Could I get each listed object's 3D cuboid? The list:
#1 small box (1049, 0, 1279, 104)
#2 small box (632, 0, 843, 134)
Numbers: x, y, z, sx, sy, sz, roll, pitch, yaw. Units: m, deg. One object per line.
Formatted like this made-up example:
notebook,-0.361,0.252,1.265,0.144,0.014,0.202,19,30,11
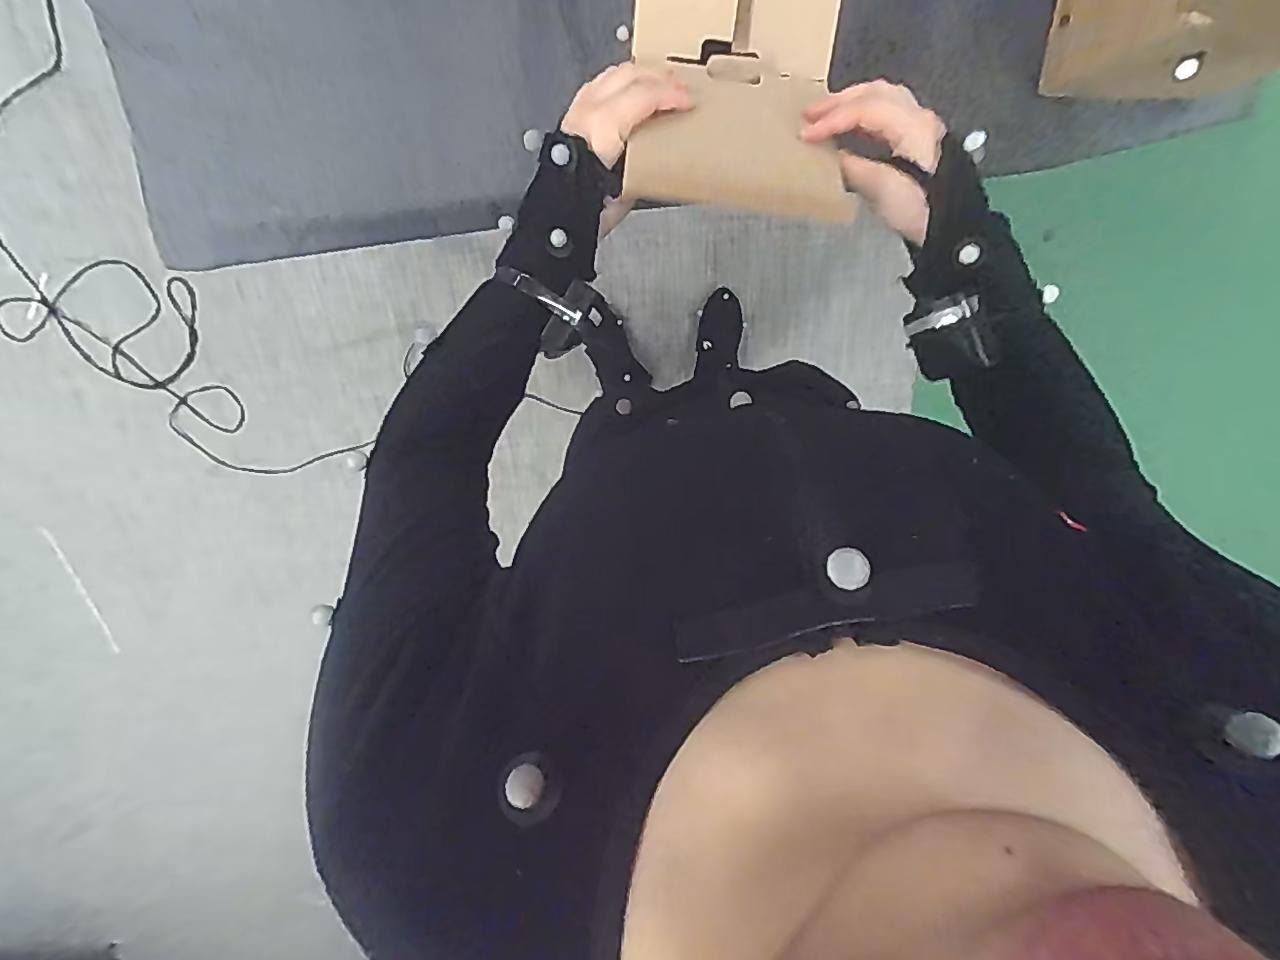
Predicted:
small box,0.513,-0.453,0.475,0.179,0.176,0.168,1,109,1
small box,0.081,-0.435,0.488,0.168,0.176,0.179,4,110,-3
